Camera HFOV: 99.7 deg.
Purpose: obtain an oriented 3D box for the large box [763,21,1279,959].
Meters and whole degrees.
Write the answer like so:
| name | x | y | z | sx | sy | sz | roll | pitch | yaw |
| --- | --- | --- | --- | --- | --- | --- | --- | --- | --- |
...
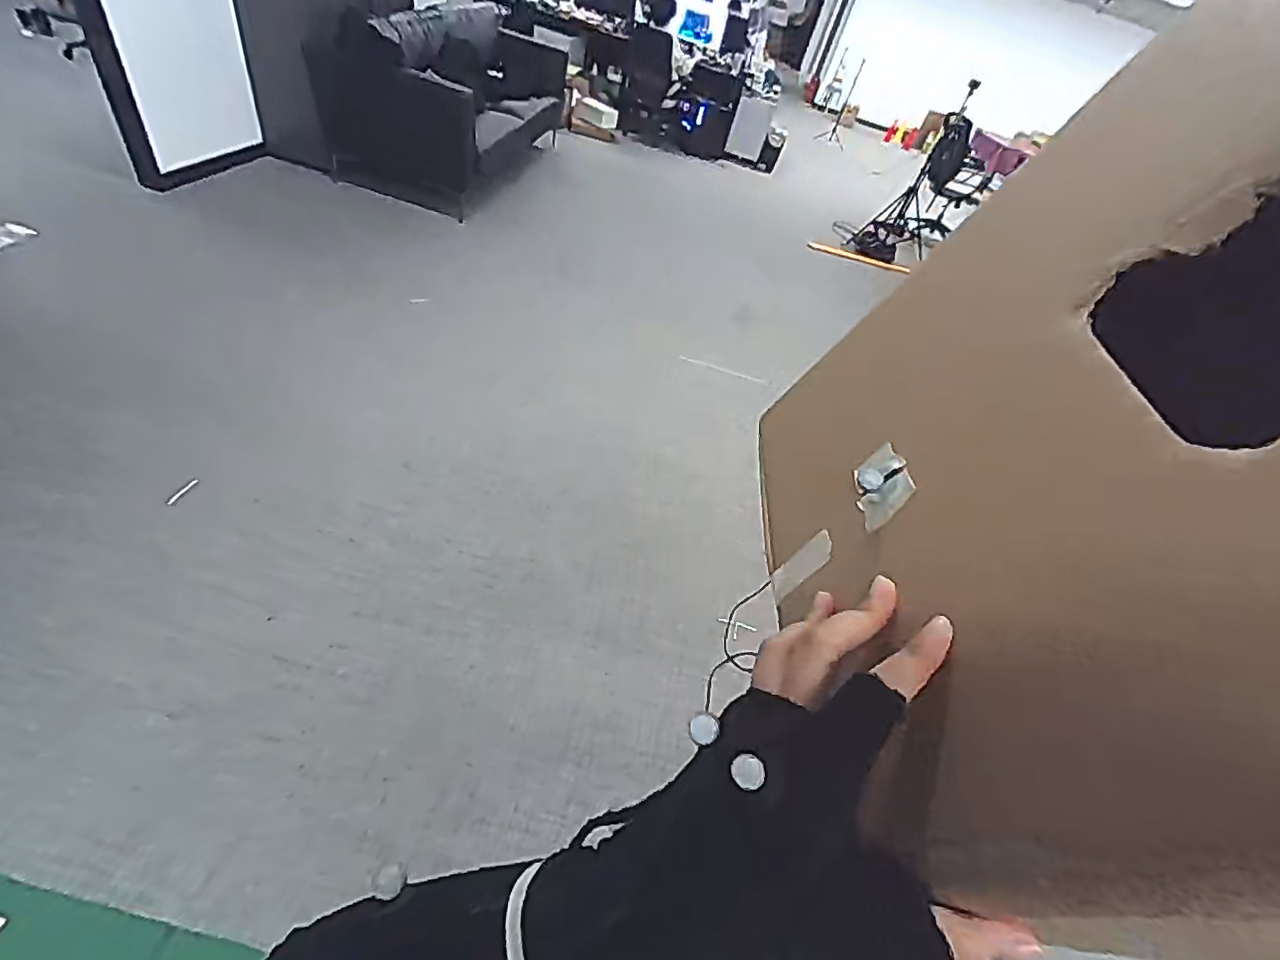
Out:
| name | x | y | z | sx | sy | sz | roll | pitch | yaw |
| --- | --- | --- | --- | --- | --- | --- | --- | --- | --- |
| large box | 0.333 | 0.062 | 0.306 | 0.408 | 0.320 | 0.320 | 24 | 46 | -20 |
